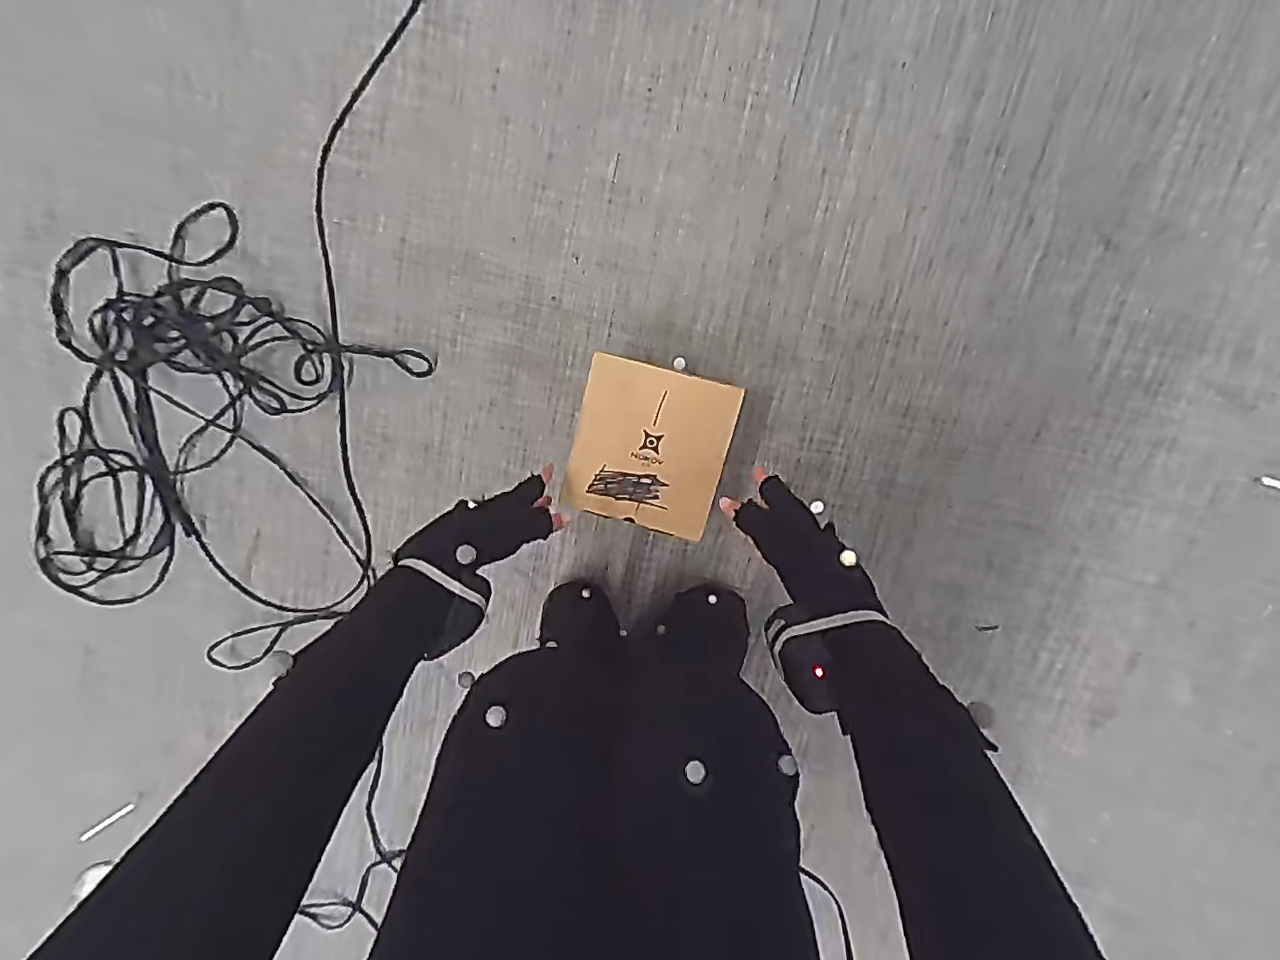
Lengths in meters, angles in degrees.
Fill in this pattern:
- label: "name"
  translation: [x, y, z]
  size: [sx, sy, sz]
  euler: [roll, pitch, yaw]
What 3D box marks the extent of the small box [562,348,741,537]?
- label: "small box"
  translation: [0.017, -0.054, 0.668]
  size: [0.168, 0.176, 0.179]
  euler: [15, 102, 1]
